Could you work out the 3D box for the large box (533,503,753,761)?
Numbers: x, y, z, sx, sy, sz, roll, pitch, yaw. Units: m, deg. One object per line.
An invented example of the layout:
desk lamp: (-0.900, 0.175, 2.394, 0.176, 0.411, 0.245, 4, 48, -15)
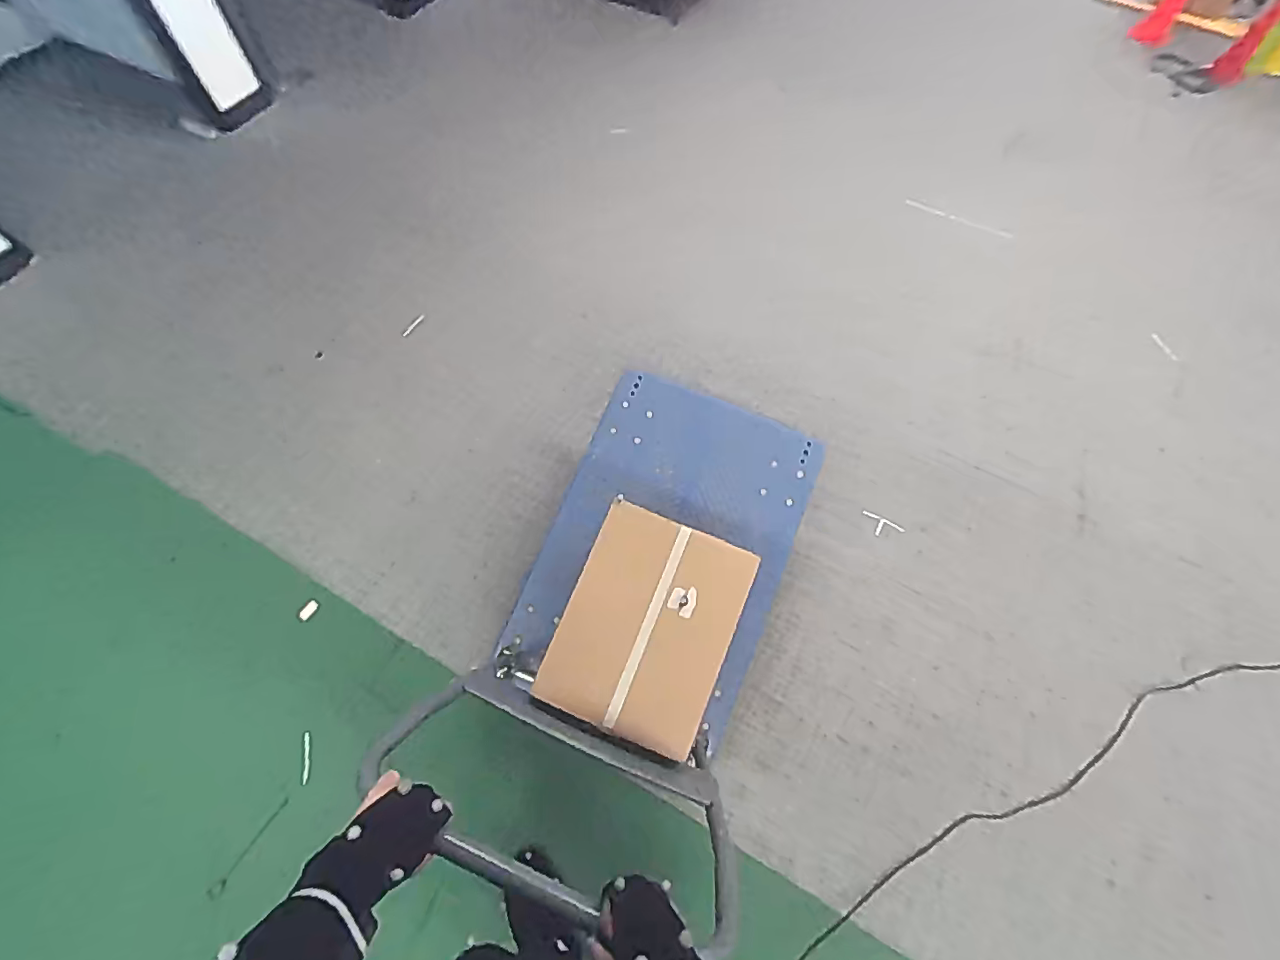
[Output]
large box: (0.013, 0.317, 1.177, 0.320, 0.320, 0.408, 23, 77, 5)
